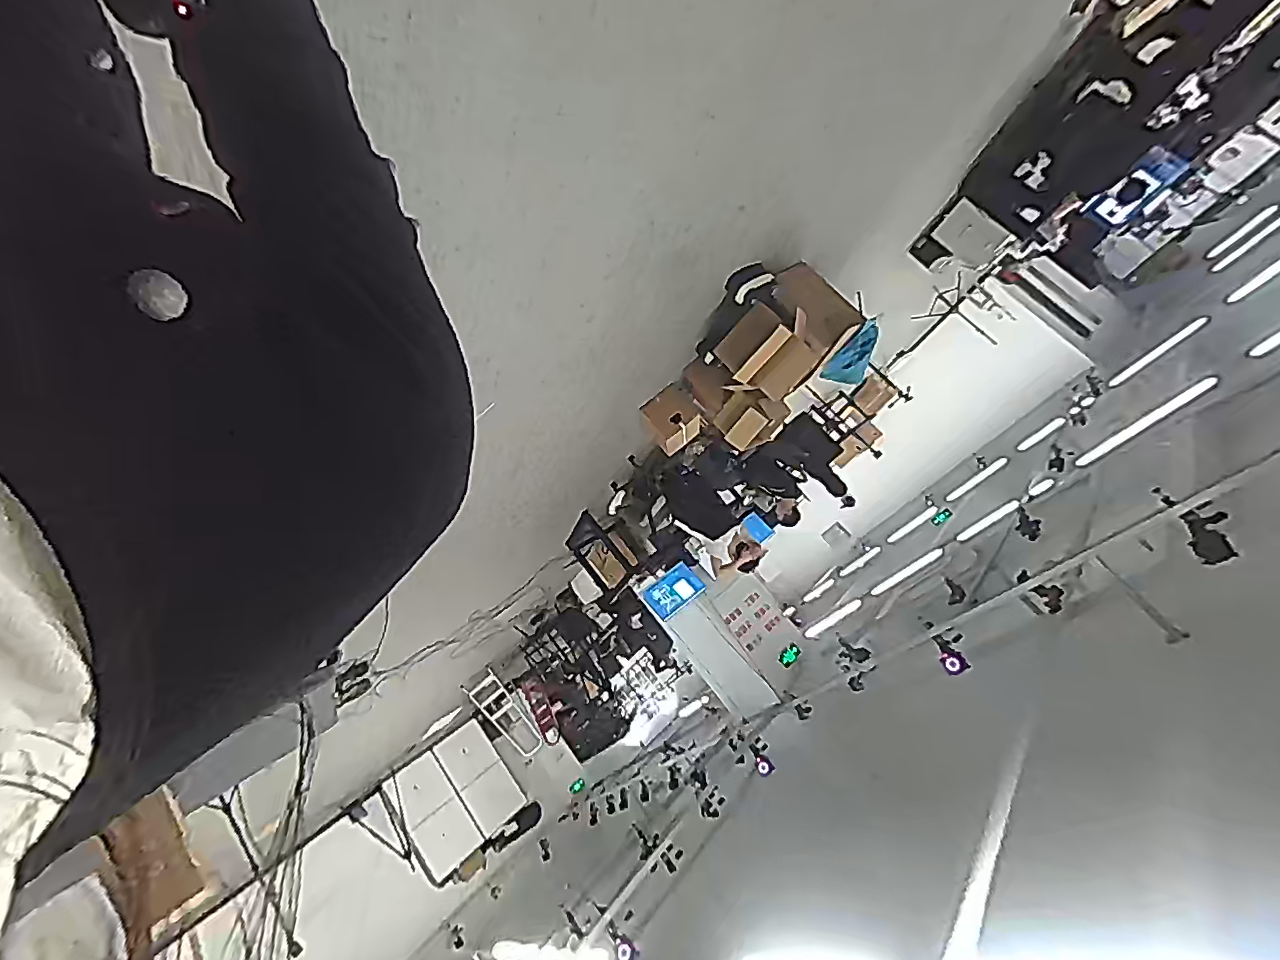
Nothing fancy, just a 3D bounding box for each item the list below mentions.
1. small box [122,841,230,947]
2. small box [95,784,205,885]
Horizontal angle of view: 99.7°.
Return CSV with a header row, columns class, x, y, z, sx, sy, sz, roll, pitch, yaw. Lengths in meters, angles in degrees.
class,x,y,z,sx,sy,sz,roll,pitch,yaw
small box,-1.284,1.145,1.503,0.168,0.176,0.179,-30,161,-40
small box,-1.394,1.011,1.544,0.179,0.176,0.168,-27,159,-41
